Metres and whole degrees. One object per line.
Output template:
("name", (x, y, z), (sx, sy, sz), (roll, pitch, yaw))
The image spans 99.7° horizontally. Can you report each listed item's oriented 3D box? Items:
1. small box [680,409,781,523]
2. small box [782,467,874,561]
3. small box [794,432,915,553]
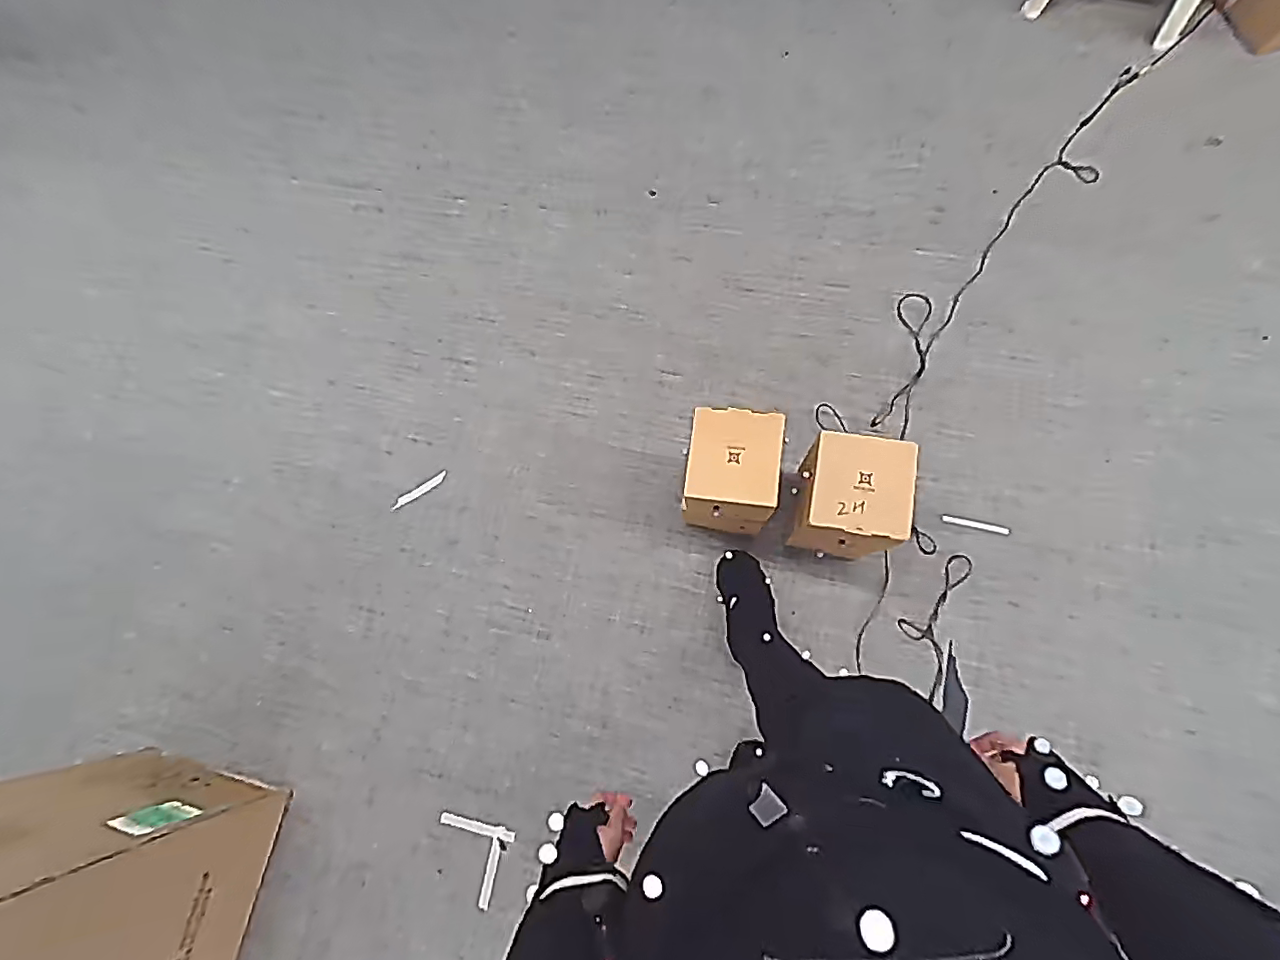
("small box", (0.176, -0.021, 1.050), (0.168, 0.176, 0.179), (6, 76, 9))
("small box", (0.410, 0.068, 1.166), (0.168, 0.176, 0.179), (11, 79, 10))
("small box", (0.390, 0.029, 1.007), (0.168, 0.176, 0.179), (10, 78, 10))
